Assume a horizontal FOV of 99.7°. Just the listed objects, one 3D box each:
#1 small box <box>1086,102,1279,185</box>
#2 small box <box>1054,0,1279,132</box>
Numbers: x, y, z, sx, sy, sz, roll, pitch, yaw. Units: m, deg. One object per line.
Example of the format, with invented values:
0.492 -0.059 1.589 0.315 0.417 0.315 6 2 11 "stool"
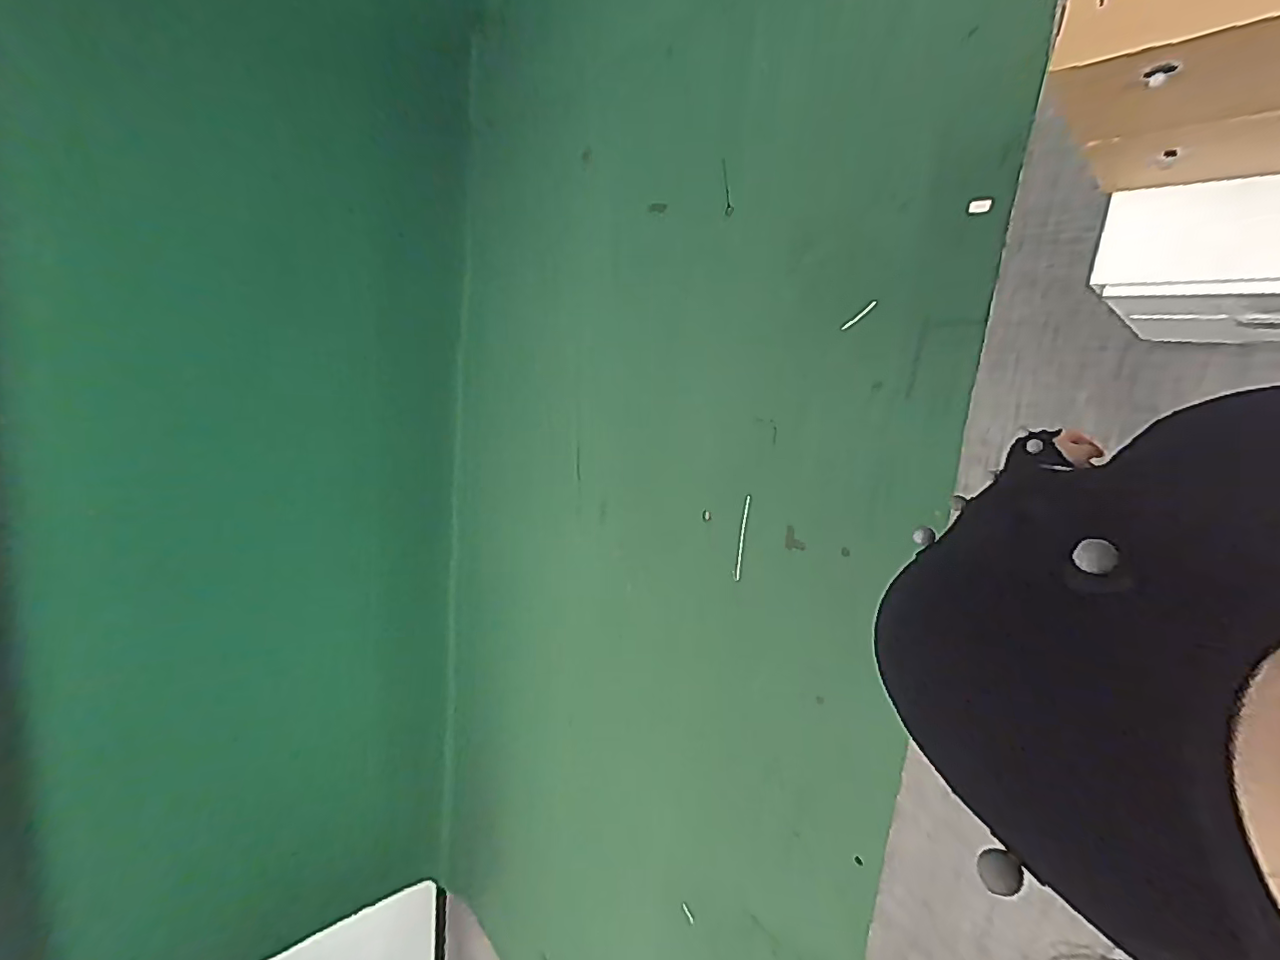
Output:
0.626 -0.440 0.584 0.179 0.176 0.168 19 107 45 "small box"
0.503 -0.436 0.472 0.179 0.176 0.168 18 106 45 "small box"
